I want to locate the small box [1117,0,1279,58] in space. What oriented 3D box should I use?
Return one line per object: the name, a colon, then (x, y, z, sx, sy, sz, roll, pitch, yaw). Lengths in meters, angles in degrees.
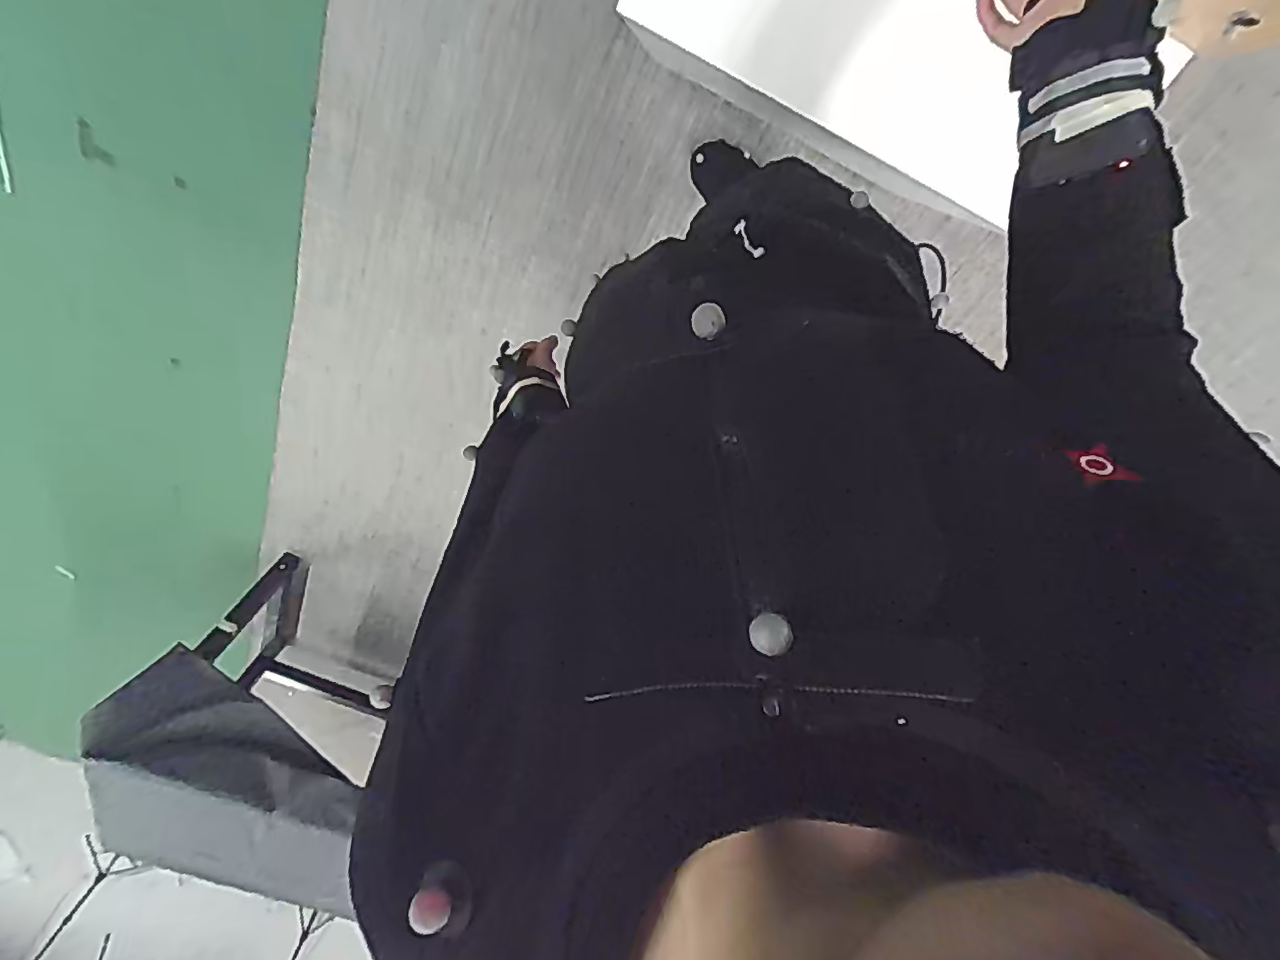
small box: (0.468, -0.431, 0.374, 0.168, 0.176, 0.179, 23, 123, -9)
